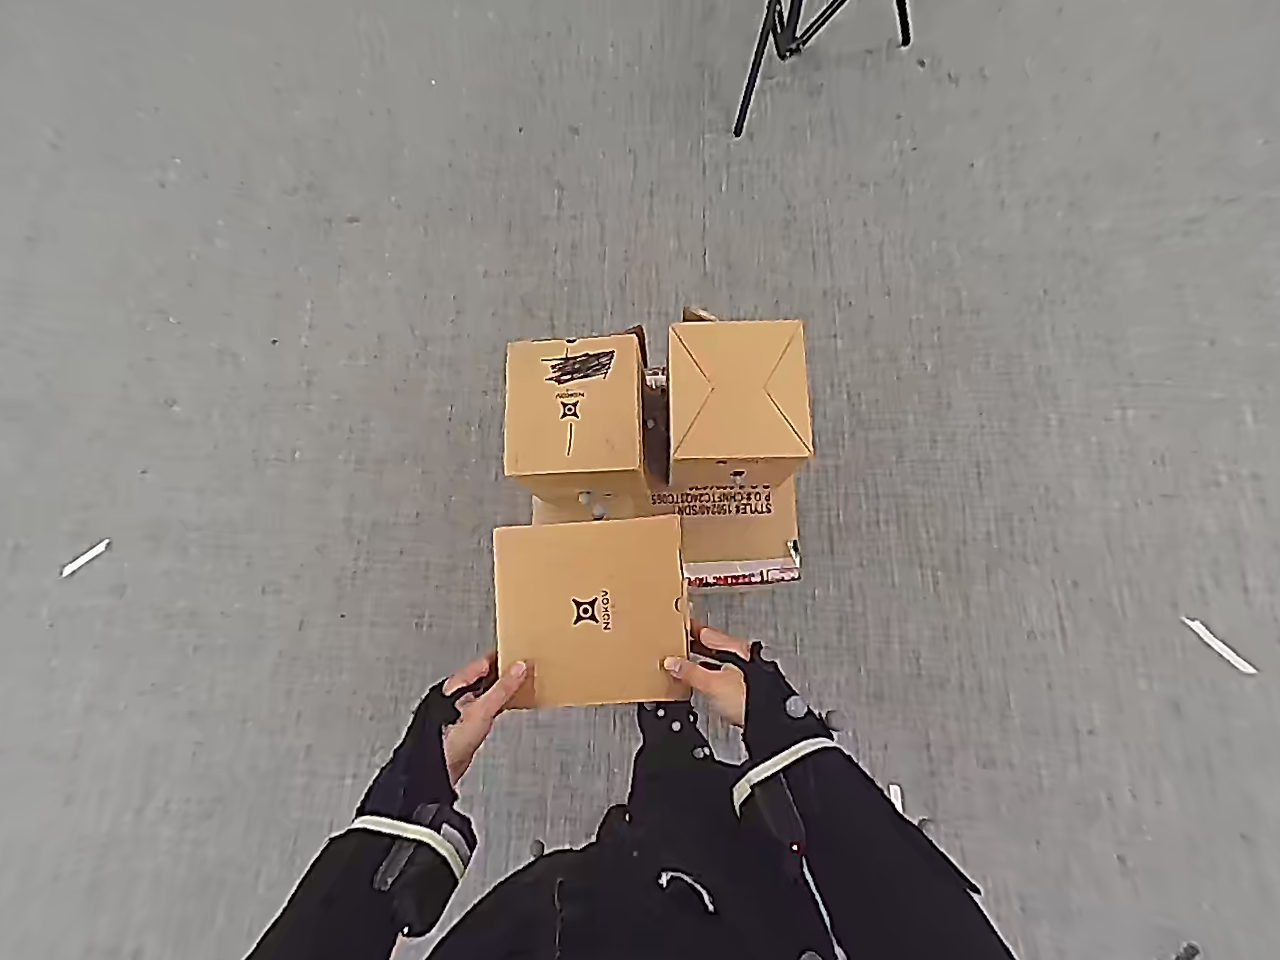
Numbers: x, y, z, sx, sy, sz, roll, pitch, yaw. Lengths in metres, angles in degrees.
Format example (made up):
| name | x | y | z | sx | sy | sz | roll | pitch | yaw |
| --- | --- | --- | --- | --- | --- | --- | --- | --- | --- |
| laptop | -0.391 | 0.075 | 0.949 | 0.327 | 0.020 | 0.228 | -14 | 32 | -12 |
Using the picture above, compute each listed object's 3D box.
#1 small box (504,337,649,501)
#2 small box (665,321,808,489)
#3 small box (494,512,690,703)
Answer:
| name | x | y | z | sx | sy | sz | roll | pitch | yaw |
| --- | --- | --- | --- | --- | --- | --- | --- | --- | --- |
| small box | -0.076 | -0.073 | 0.736 | 0.168 | 0.176 | 0.179 | -2 | 78 | 5 |
| small box | 0.119 | -0.091 | 0.726 | 0.168 | 0.176 | 0.179 | -1 | 78 | 0 |
| small box | -0.043 | 0.126 | 0.573 | 0.179 | 0.176 | 0.168 | -4 | 83 | 1 |
